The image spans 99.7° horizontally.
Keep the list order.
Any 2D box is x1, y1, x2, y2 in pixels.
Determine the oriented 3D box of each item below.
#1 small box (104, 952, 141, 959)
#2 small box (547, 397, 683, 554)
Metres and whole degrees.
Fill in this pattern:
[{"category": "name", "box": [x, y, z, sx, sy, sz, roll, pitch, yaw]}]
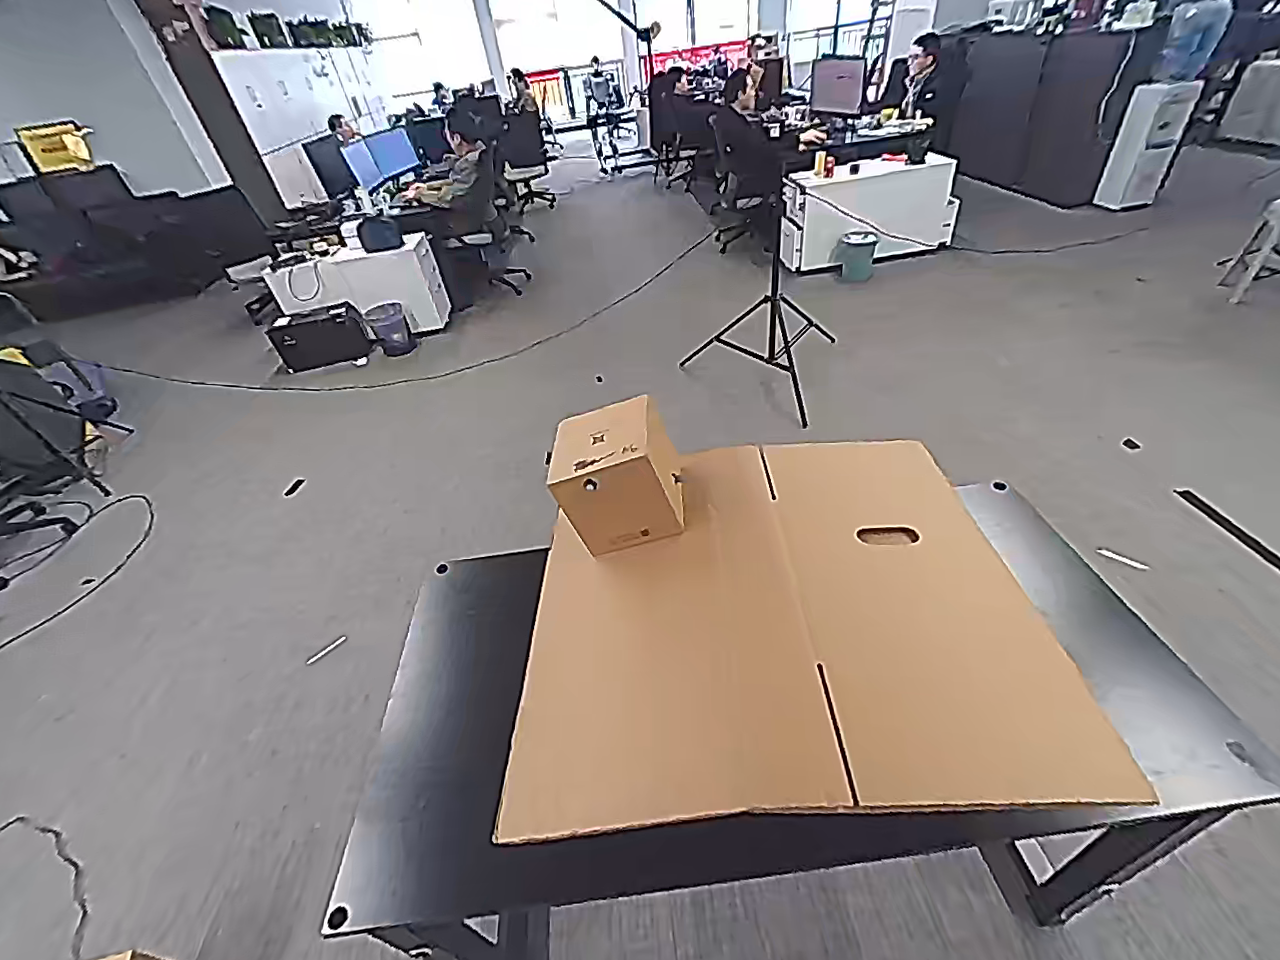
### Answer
[{"category": "small box", "box": [-0.997, 1.012, 0.988, 0.168, 0.176, 0.179, -12, 38, -6]}, {"category": "small box", "box": [-0.033, -0.007, 0.901, 0.168, 0.176, 0.179, -17, 36, 14]}]
